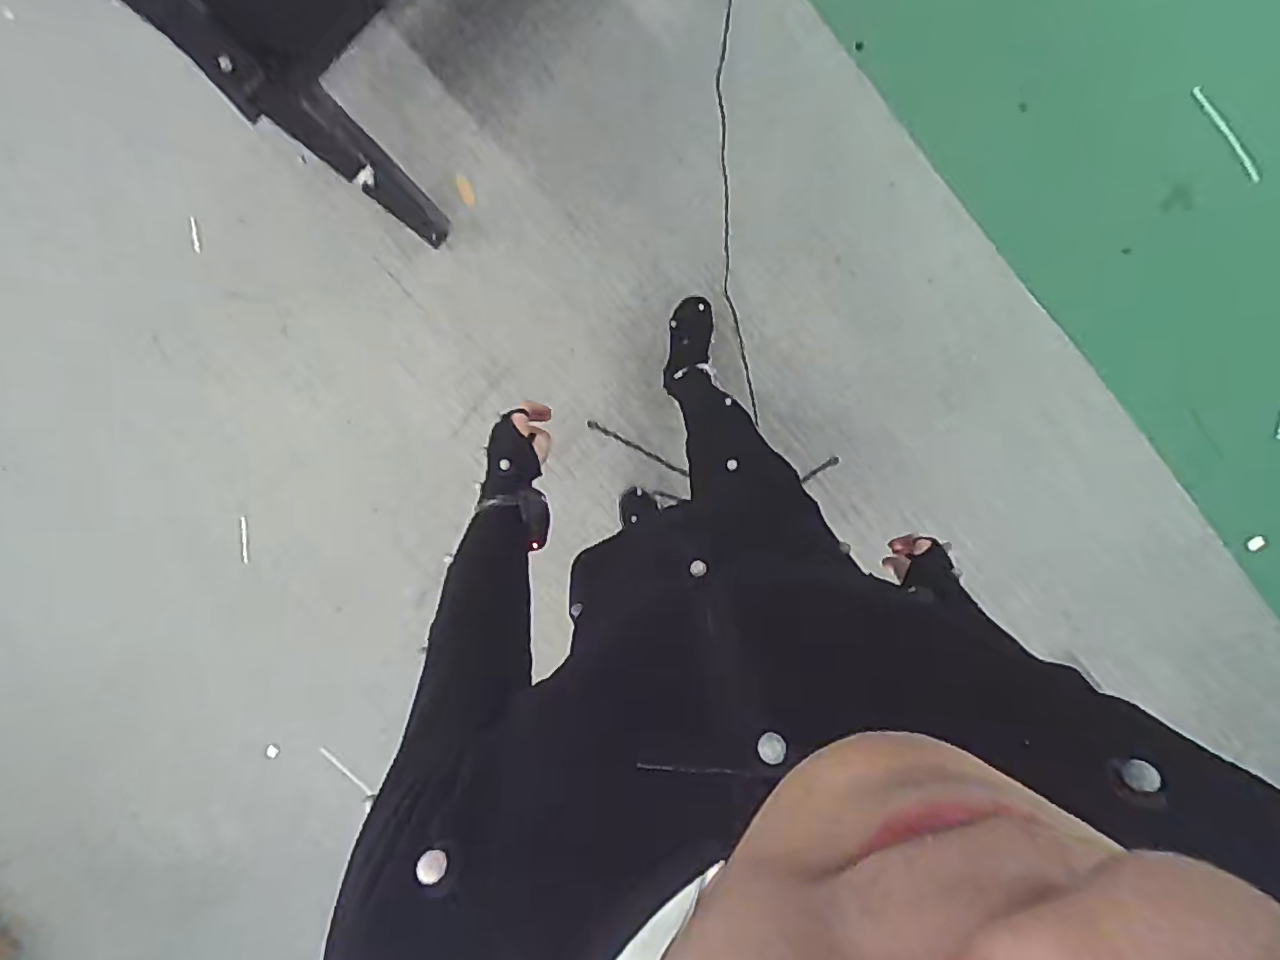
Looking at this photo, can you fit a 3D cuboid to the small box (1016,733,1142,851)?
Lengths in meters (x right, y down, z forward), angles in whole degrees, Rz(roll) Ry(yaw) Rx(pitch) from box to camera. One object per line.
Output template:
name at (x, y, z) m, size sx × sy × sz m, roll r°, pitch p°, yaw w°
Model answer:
small box at (1.152, 0.823, 1.442) m, size 0.179 × 0.176 × 0.168 m, roll -40°, pitch 95°, yaw 4°
